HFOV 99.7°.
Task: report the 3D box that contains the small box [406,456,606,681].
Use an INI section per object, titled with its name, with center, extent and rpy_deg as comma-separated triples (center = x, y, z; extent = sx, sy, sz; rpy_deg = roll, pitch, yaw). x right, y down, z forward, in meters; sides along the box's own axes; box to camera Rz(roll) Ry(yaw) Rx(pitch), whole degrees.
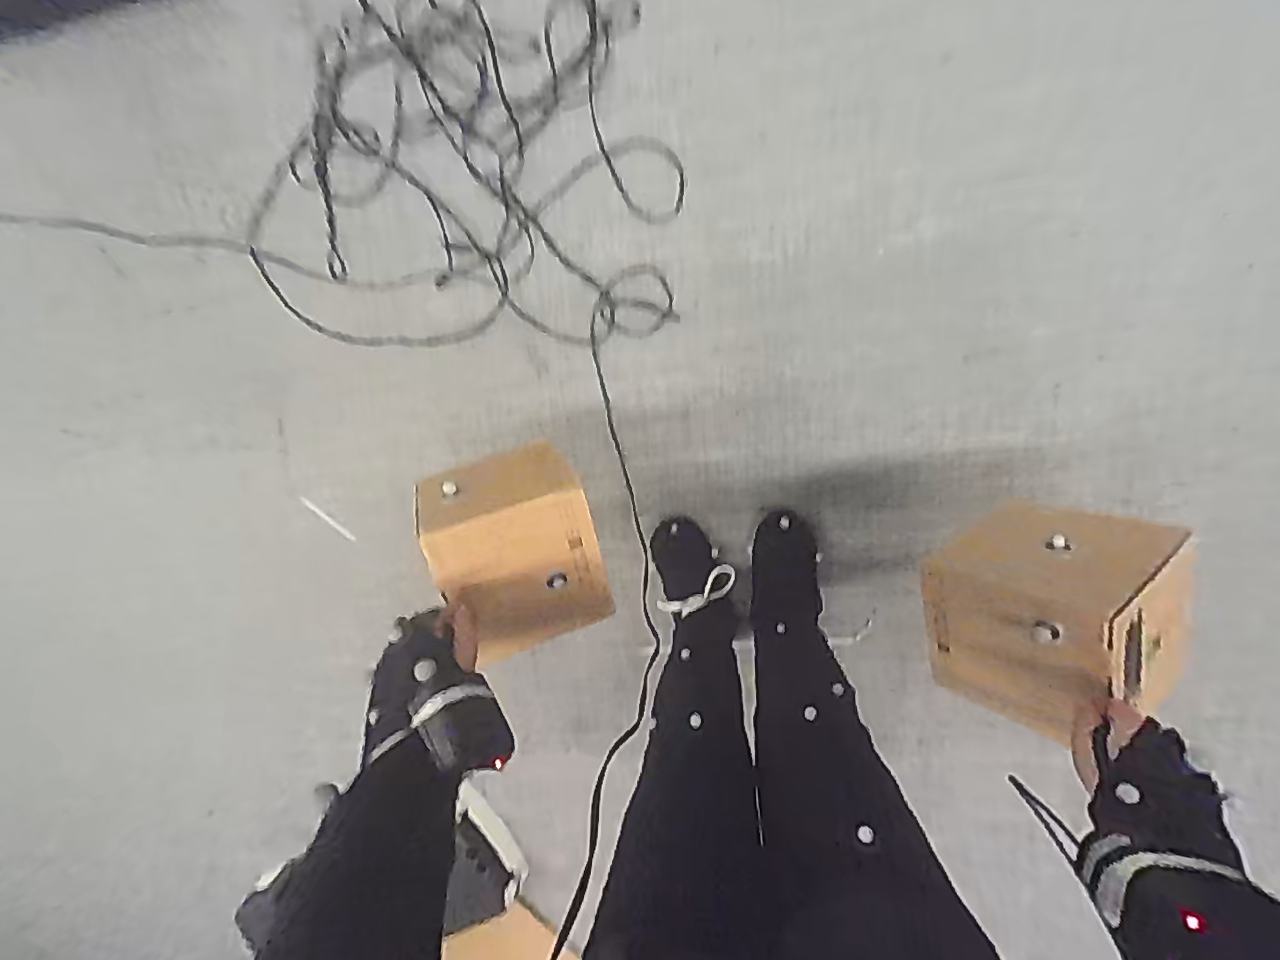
[small box]
center = -0.153, 0.085, 0.619
extent = 0.176, 0.179, 0.168
rpy_deg = -20, 116, -19
